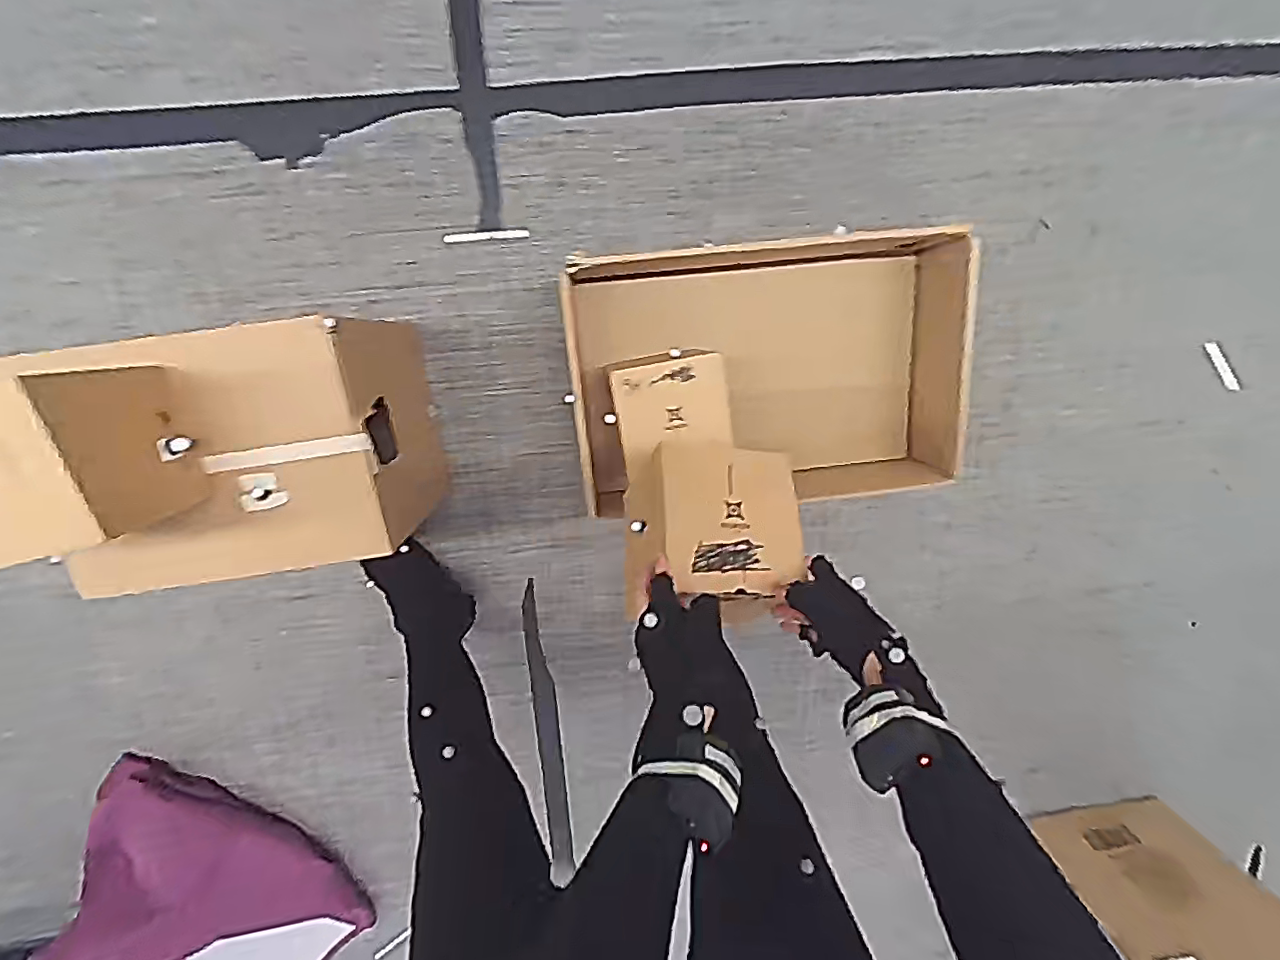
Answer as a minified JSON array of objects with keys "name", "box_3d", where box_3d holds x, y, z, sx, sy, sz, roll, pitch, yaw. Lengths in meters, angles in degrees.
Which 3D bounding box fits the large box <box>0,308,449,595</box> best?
[{"name":"large box","box_3d":[-0.557,-0.063,0.820,0.408,0.320,0.320,-9,106,-3]}]
